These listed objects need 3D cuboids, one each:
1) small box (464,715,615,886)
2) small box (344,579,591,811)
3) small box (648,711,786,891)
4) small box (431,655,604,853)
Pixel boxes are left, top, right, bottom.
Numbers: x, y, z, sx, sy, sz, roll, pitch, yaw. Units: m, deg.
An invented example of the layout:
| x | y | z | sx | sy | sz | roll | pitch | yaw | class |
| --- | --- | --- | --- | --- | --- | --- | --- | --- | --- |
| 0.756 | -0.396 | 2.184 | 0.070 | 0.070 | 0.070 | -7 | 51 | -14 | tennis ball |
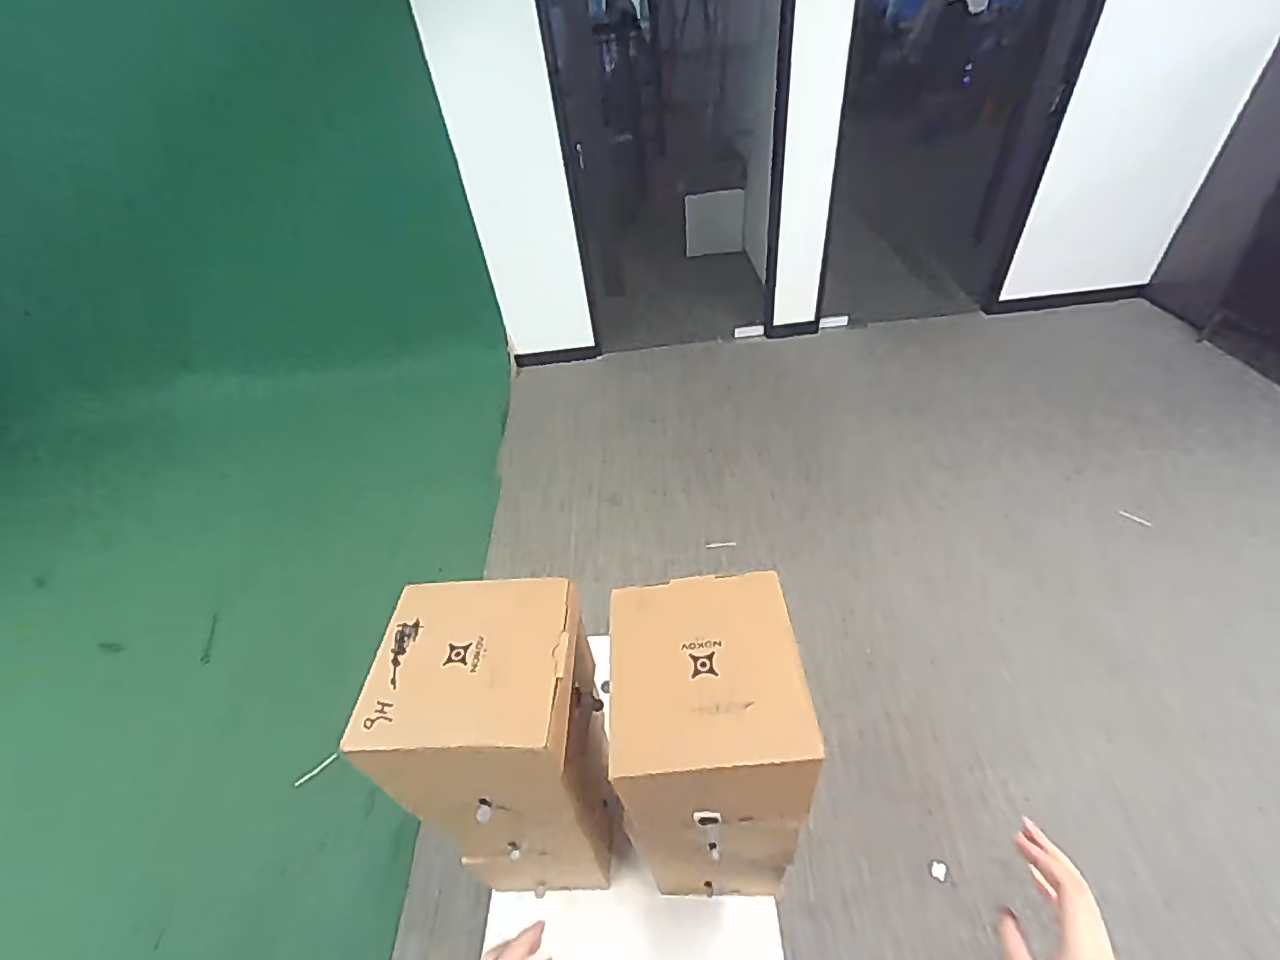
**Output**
| x | y | z | sx | sy | sz | roll | pitch | yaw | class |
| --- | --- | --- | --- | --- | --- | --- | --- | --- | --- |
| -0.129 | 0.455 | 0.773 | 0.168 | 0.176 | 0.179 | -3 | 44 | 4 | small box |
| -0.148 | 0.218 | 0.547 | 0.179 | 0.176 | 0.168 | -2 | 43 | 4 | small box |
| 0.102 | 0.444 | 0.752 | 0.168 | 0.176 | 0.179 | -4 | 43 | 6 | small box |
| -0.139 | 0.332 | 0.665 | 0.168 | 0.176 | 0.179 | -3 | 43 | 4 | small box |
